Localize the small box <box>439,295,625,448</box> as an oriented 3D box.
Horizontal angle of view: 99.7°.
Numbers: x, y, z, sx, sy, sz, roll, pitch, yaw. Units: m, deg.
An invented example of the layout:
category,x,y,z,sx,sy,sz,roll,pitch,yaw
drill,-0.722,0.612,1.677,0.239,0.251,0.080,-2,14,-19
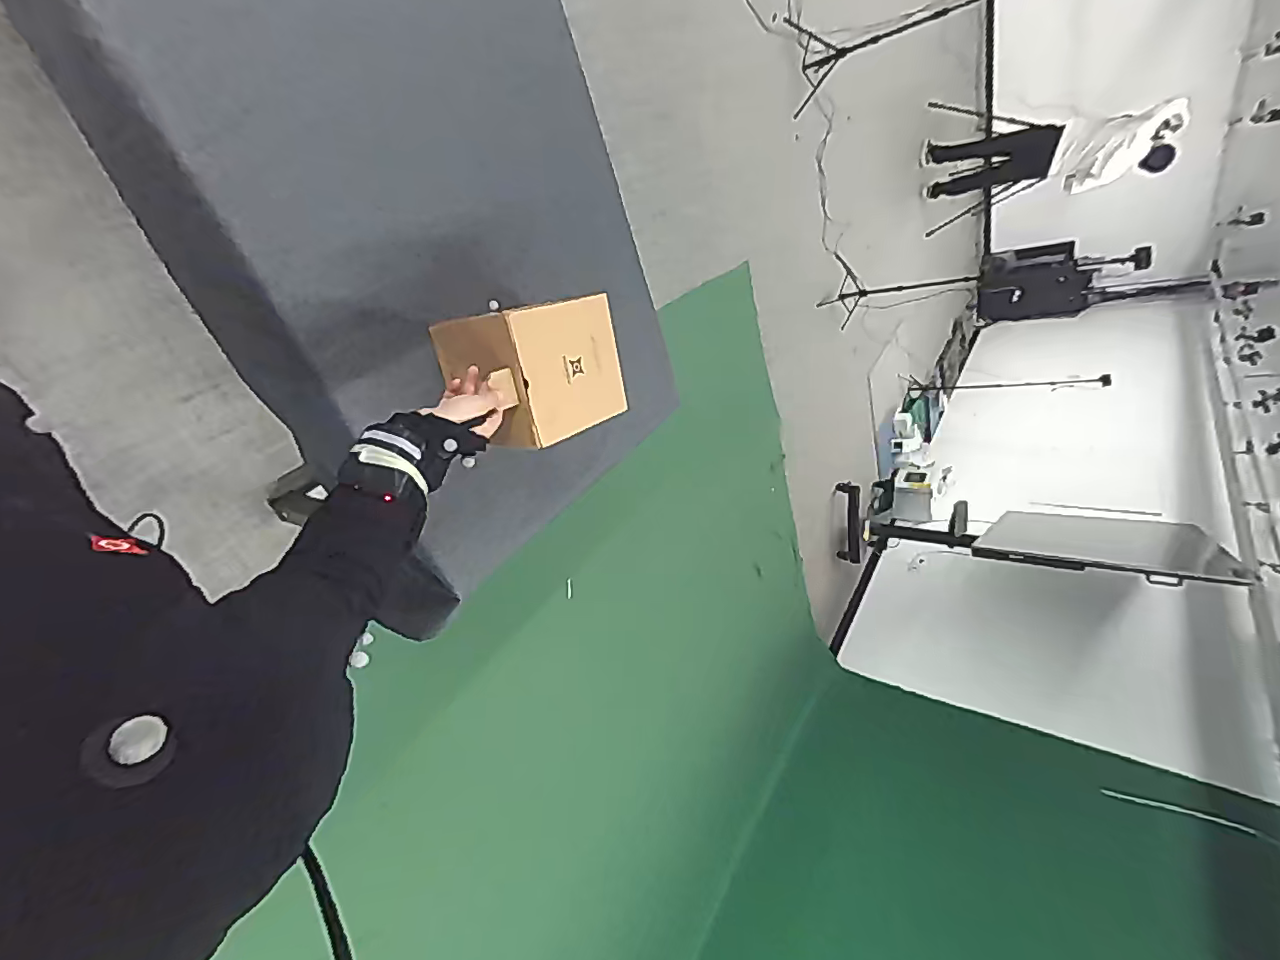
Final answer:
category,x,y,z,sx,sy,sz,roll,pitch,yaw
small box,-0.150,-0.150,0.743,0.179,0.176,0.168,-33,121,-45
